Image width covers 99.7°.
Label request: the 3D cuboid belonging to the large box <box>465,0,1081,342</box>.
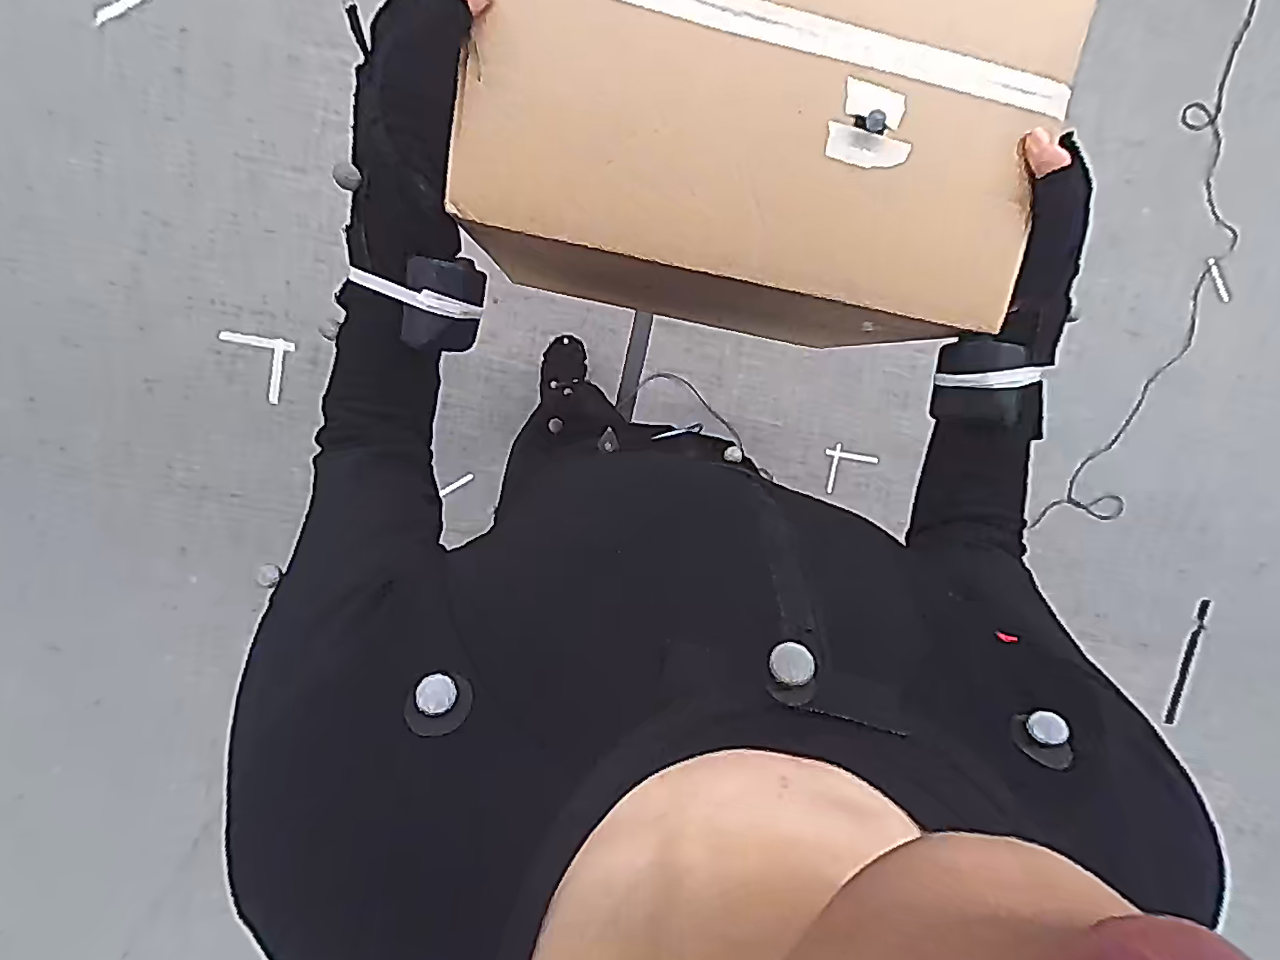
[{"bbox_3d":[0.082,-0.324,0.508,0.408,0.320,0.320,9,102,-8],"label":"large box"}]
